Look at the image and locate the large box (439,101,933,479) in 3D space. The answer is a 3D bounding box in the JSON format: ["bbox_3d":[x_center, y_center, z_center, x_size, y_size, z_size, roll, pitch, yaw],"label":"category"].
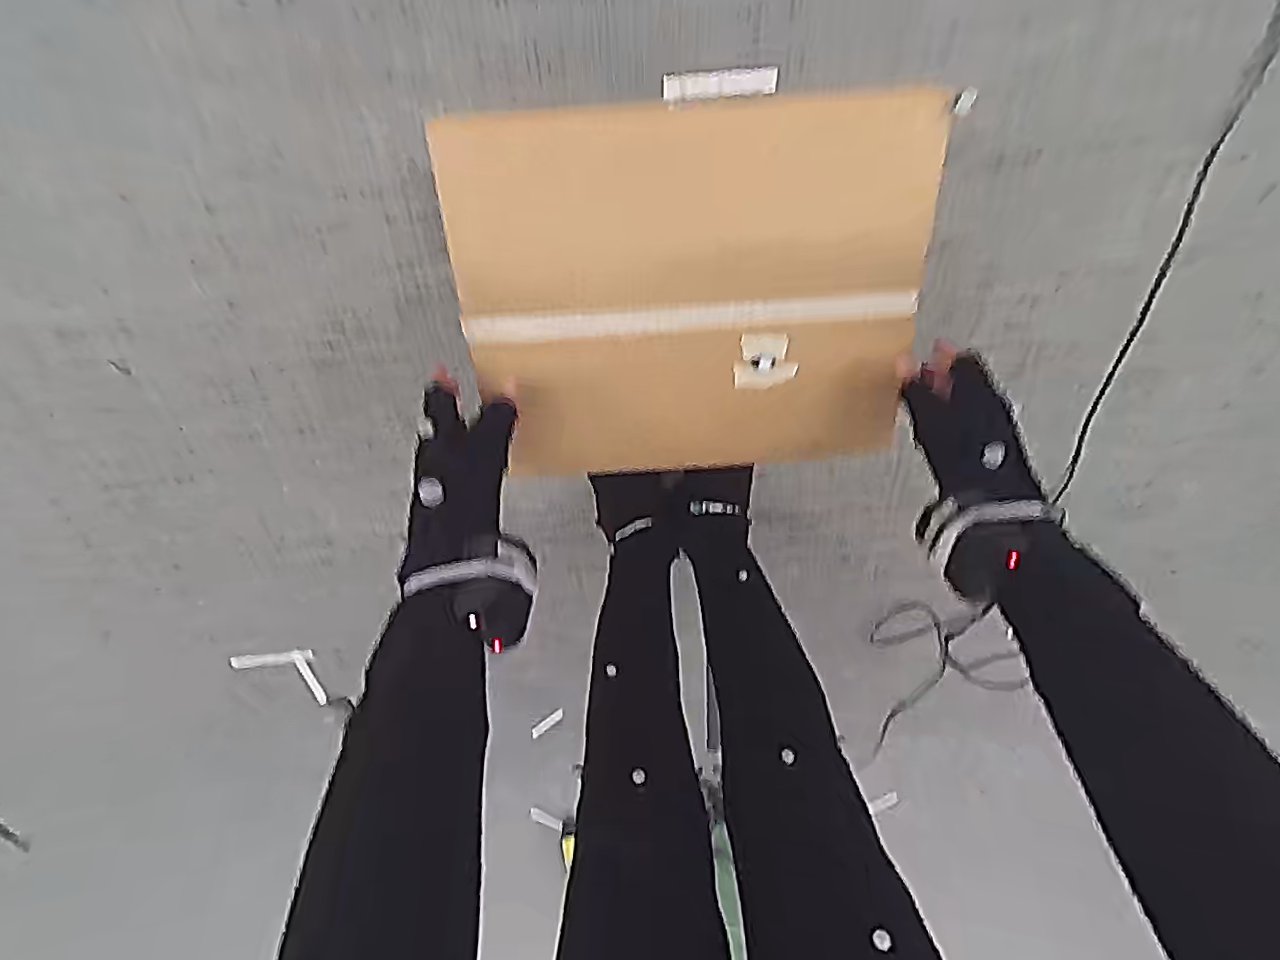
[{"bbox_3d":[0.039,-0.221,0.629,0.408,0.320,0.320,-4,120,0],"label":"large box"}]
